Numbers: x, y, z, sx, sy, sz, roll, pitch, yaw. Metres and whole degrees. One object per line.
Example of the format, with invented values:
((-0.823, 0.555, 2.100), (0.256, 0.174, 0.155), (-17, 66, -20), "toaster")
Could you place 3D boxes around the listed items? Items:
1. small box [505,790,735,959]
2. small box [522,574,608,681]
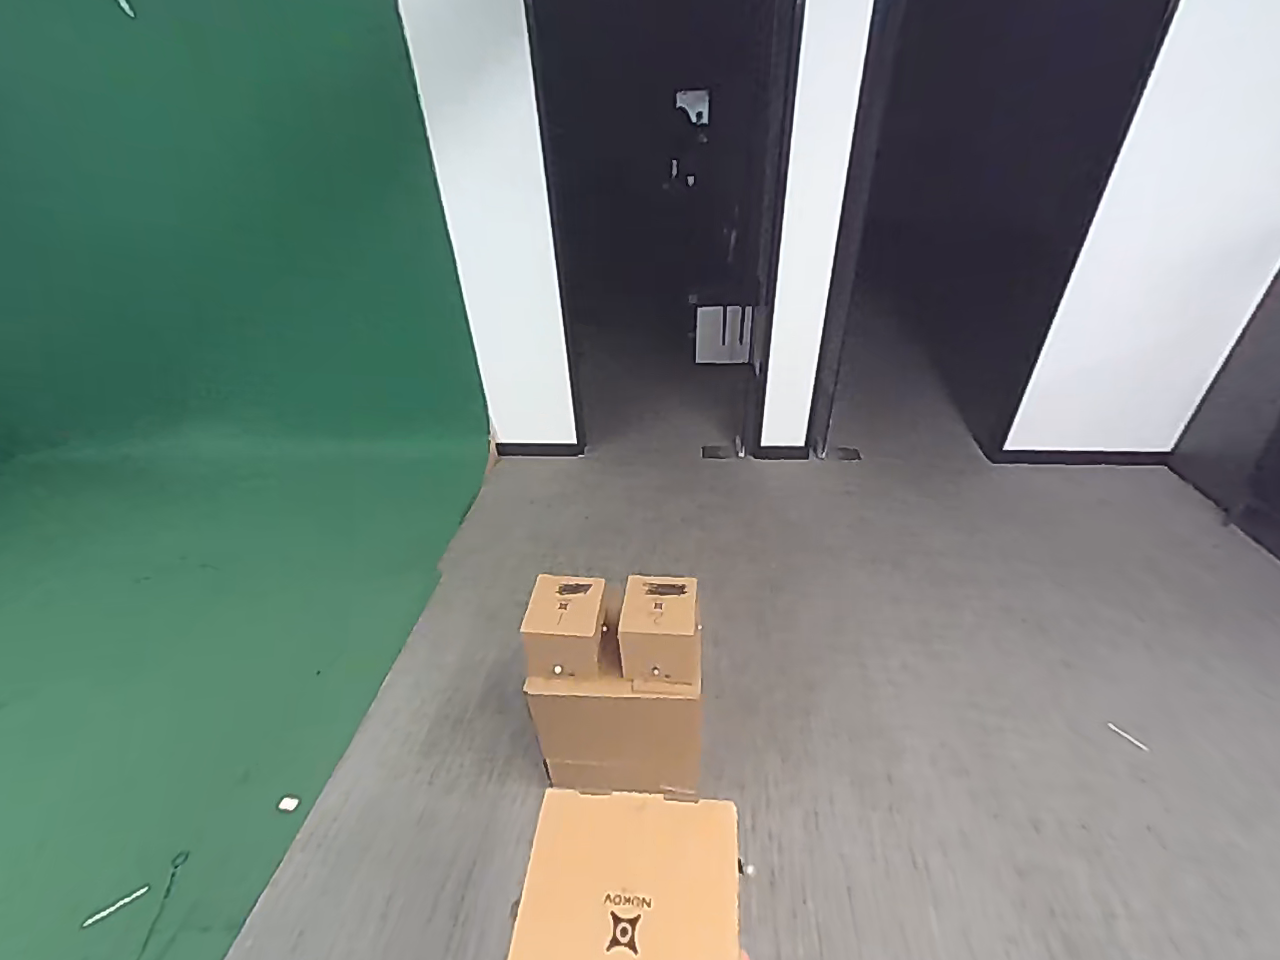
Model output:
((-0.005, 0.392, 0.456), (0.168, 0.176, 0.179), (-1, 40, 9), "small box")
((-0.171, 0.351, 1.292), (0.168, 0.176, 0.179), (3, 37, 5), "small box")
